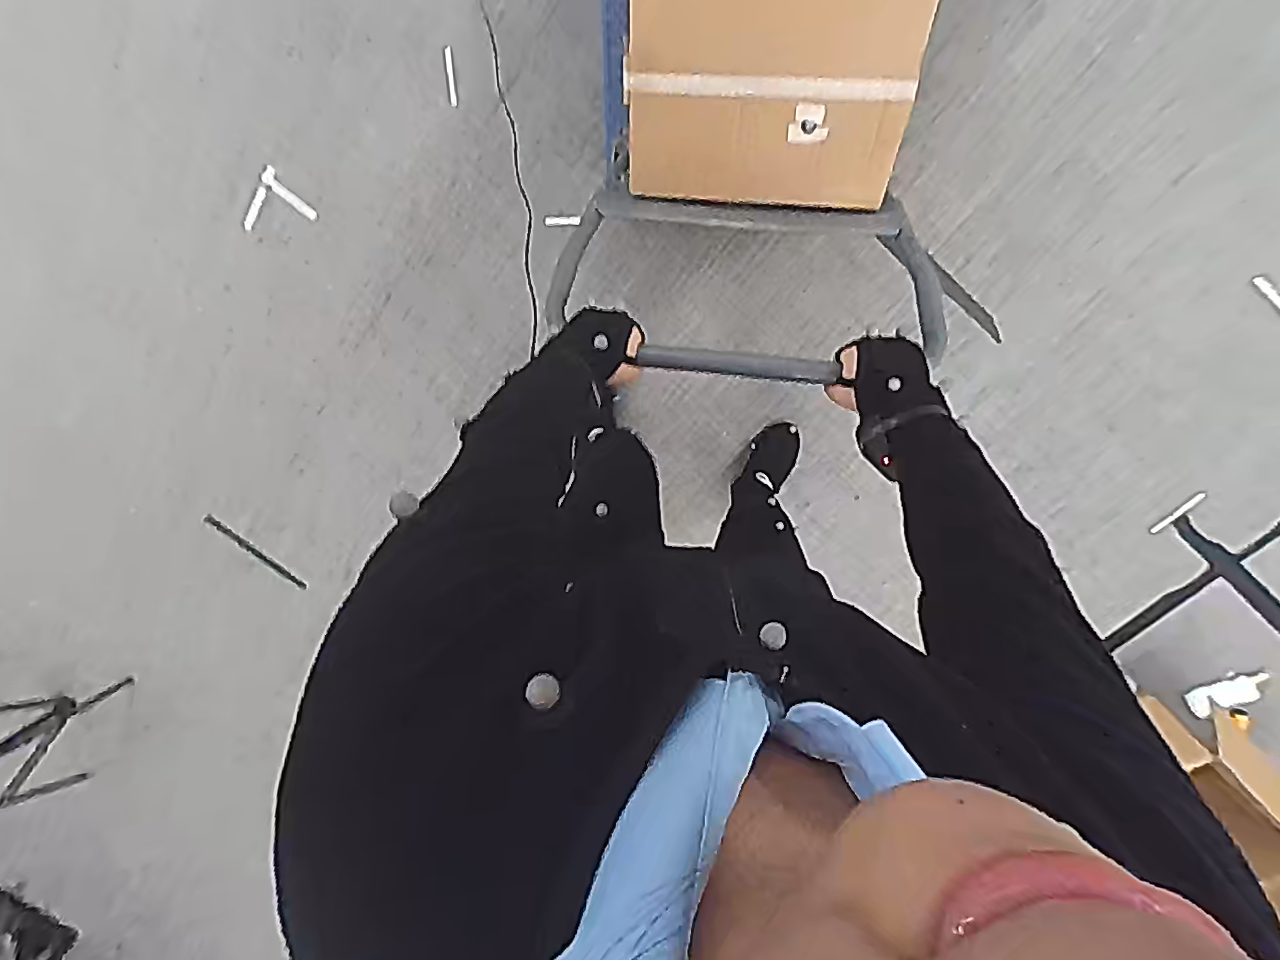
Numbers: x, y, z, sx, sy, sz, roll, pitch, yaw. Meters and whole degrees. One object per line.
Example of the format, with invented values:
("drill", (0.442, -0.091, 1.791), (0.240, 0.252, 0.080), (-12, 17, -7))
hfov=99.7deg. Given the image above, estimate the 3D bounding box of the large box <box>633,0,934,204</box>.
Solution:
("large box", (0.206, -0.672, 0.899), (0.408, 0.320, 0.320), (6, 132, 5))
